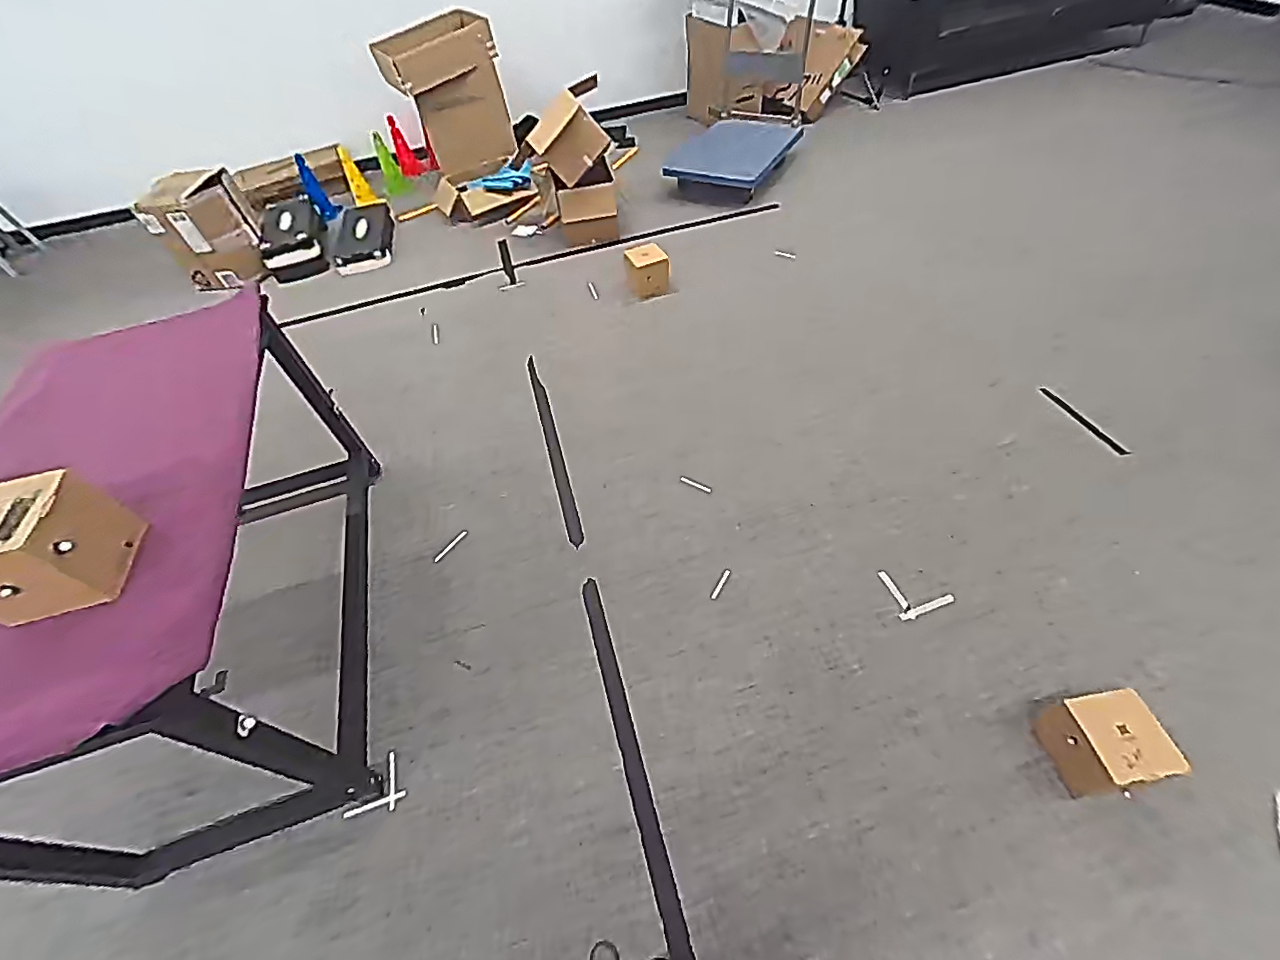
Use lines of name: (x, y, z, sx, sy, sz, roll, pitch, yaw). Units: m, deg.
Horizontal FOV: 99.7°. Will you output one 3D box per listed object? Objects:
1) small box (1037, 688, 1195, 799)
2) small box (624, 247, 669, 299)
small box: (1.051, 0.596, 1.218, 0.168, 0.176, 0.179, -10, 50, -1)
small box: (0.036, -1.017, 2.670, 0.168, 0.176, 0.179, -22, 51, -11)
